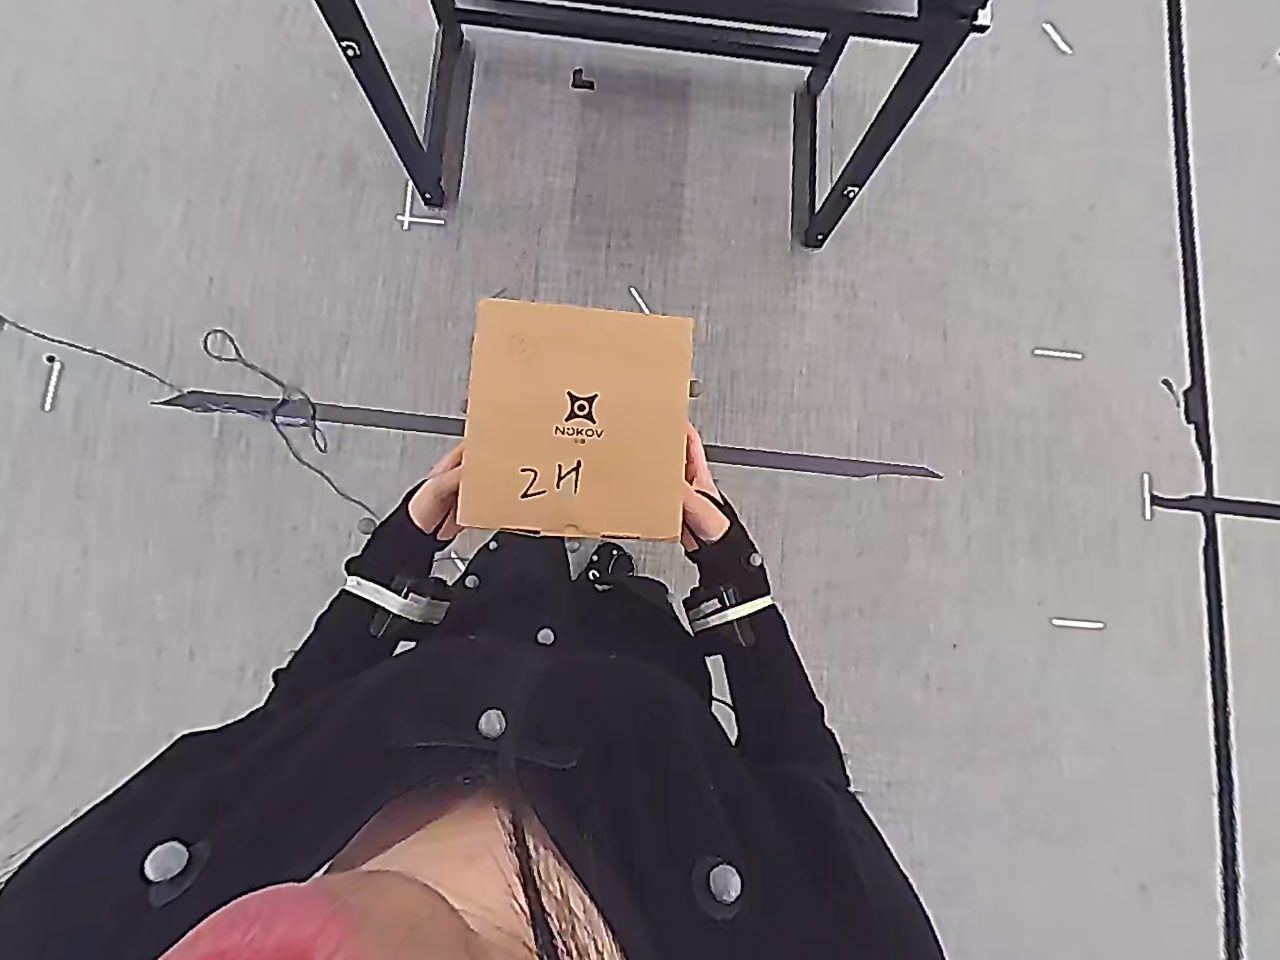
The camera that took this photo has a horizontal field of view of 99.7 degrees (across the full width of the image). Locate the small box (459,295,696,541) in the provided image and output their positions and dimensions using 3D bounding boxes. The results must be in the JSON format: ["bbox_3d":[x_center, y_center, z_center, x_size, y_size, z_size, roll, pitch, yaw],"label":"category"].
[{"bbox_3d":[-0.051,-0.039,0.483,0.168,0.176,0.179,5,84,-5],"label":"small box"}]
